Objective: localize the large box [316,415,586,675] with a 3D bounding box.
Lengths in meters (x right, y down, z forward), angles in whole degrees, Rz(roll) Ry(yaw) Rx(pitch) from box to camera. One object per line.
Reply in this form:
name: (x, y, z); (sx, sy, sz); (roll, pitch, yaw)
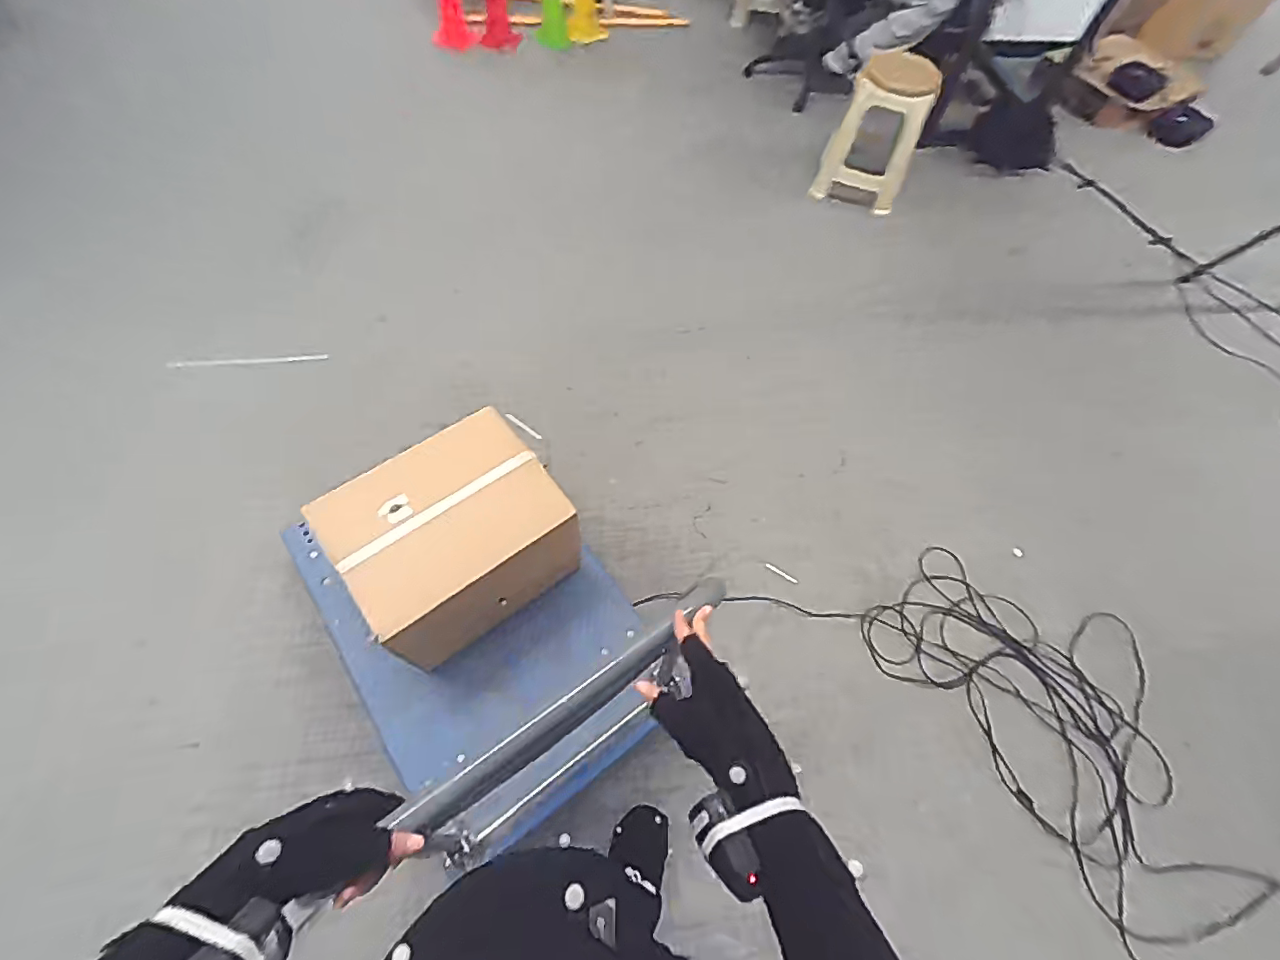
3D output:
large box: (-0.363, 0.144, 1.150); (0.408, 0.320, 0.320); (-35, 69, -20)
